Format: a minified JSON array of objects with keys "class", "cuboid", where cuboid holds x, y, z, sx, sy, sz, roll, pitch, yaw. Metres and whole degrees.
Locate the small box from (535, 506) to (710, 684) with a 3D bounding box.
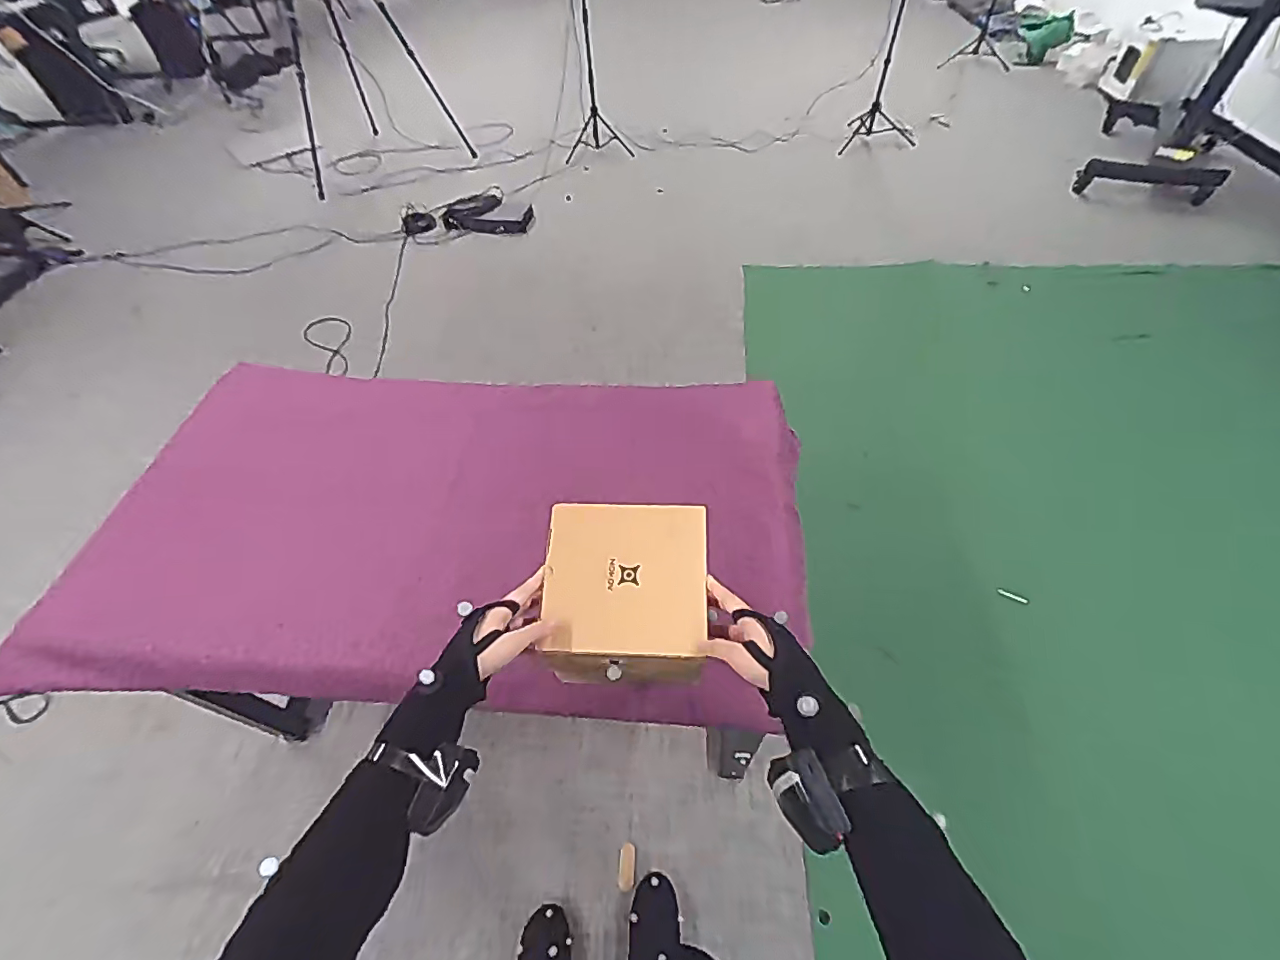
[{"class":"small box","cuboid":[-0.010,0.142,0.644,0.179,0.176,0.168,0,60,5]}]
